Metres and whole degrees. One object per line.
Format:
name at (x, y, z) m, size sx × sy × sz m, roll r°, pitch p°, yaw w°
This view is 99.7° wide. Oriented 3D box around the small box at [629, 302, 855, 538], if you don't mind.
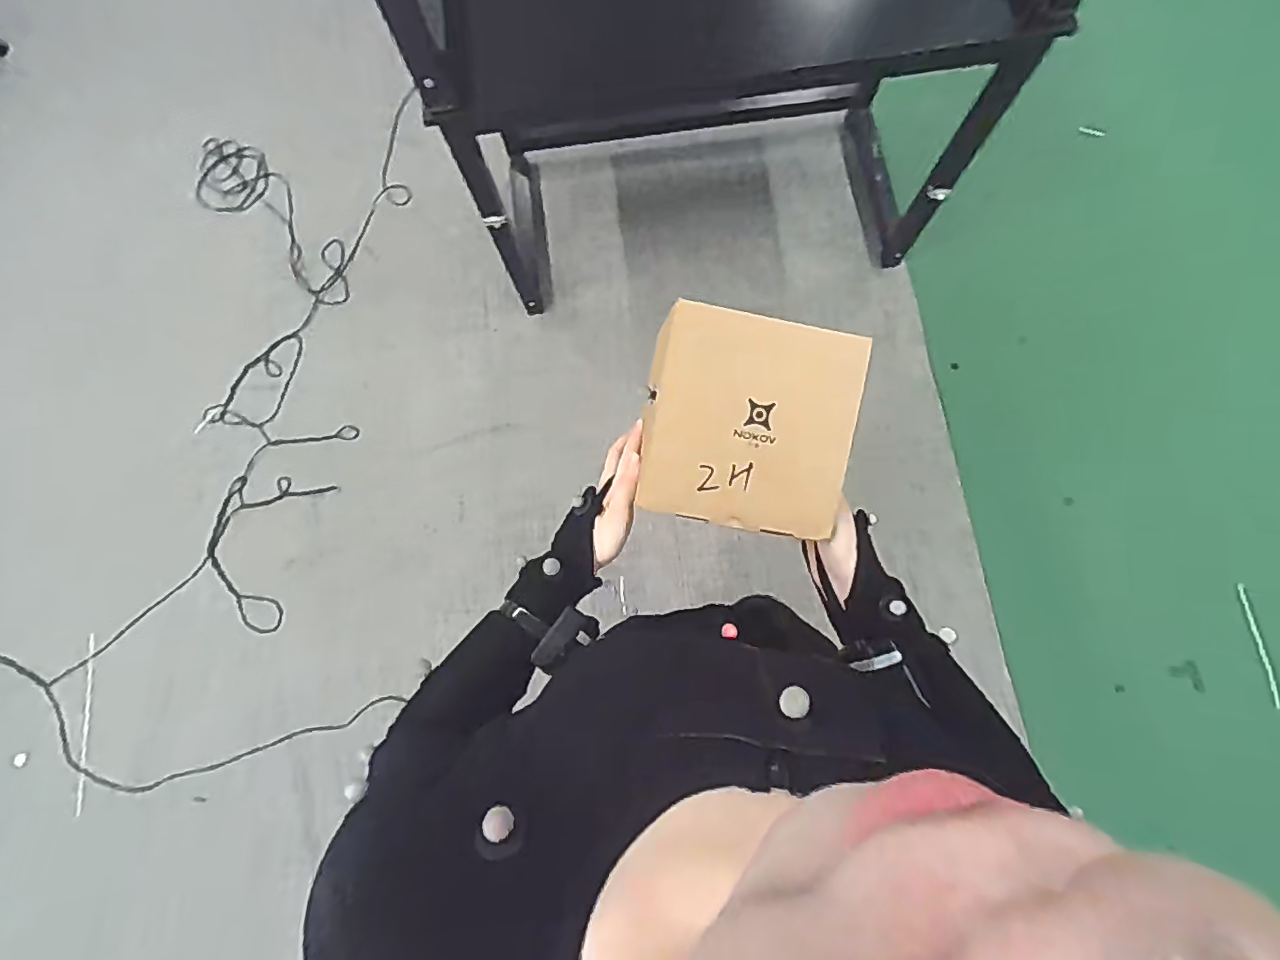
small box at (0.083, -0.055, 0.536) m, size 0.168 × 0.176 × 0.179 m, roll 10°, pitch 95°, yaw -3°
